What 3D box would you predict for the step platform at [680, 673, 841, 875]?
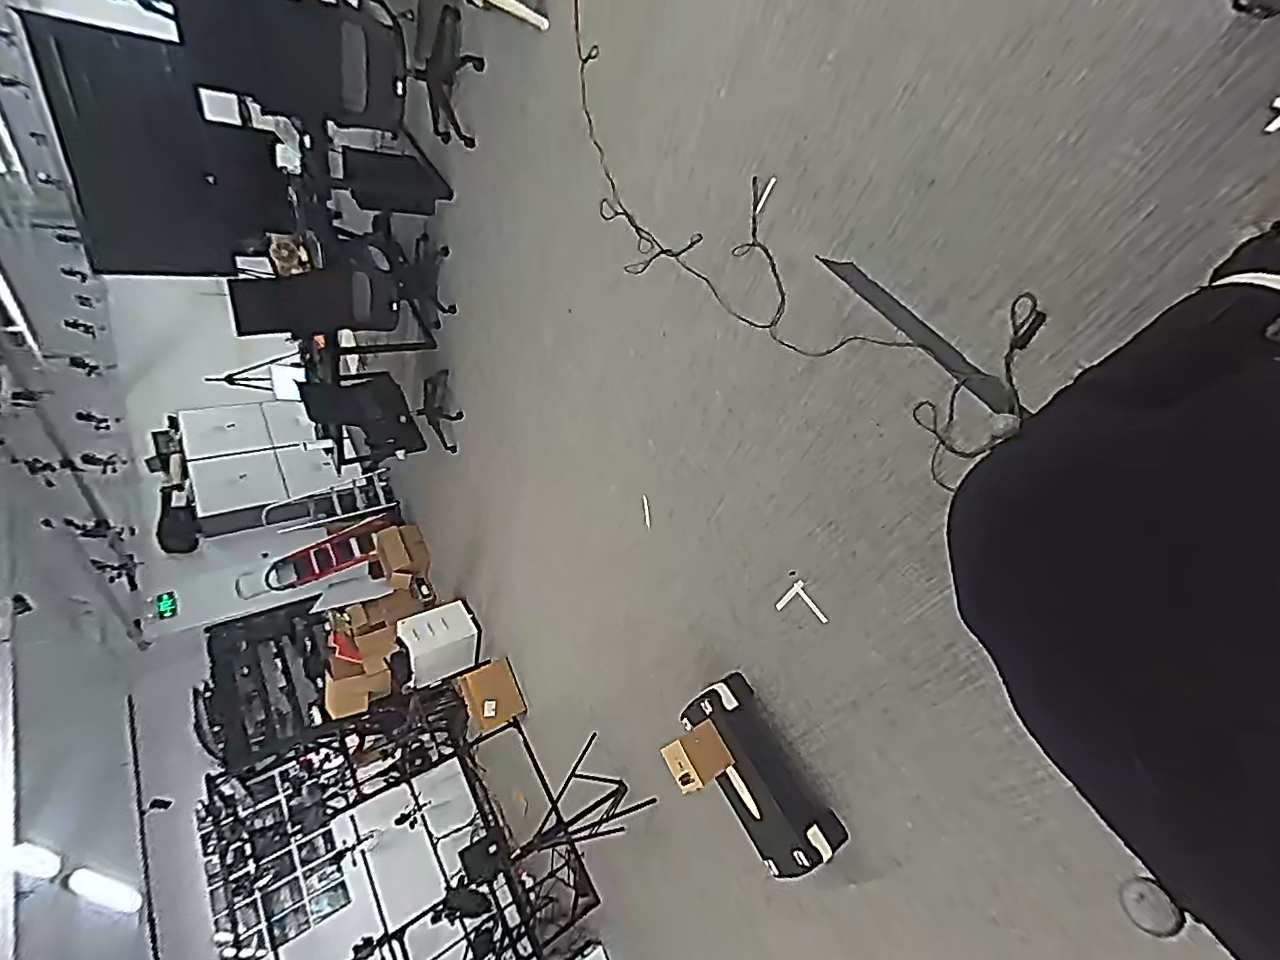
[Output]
[{"bbox_3d":[0.437,1.120,2.084,0.684,0.204,0.286,54,140,25],"label":"step platform"}]
